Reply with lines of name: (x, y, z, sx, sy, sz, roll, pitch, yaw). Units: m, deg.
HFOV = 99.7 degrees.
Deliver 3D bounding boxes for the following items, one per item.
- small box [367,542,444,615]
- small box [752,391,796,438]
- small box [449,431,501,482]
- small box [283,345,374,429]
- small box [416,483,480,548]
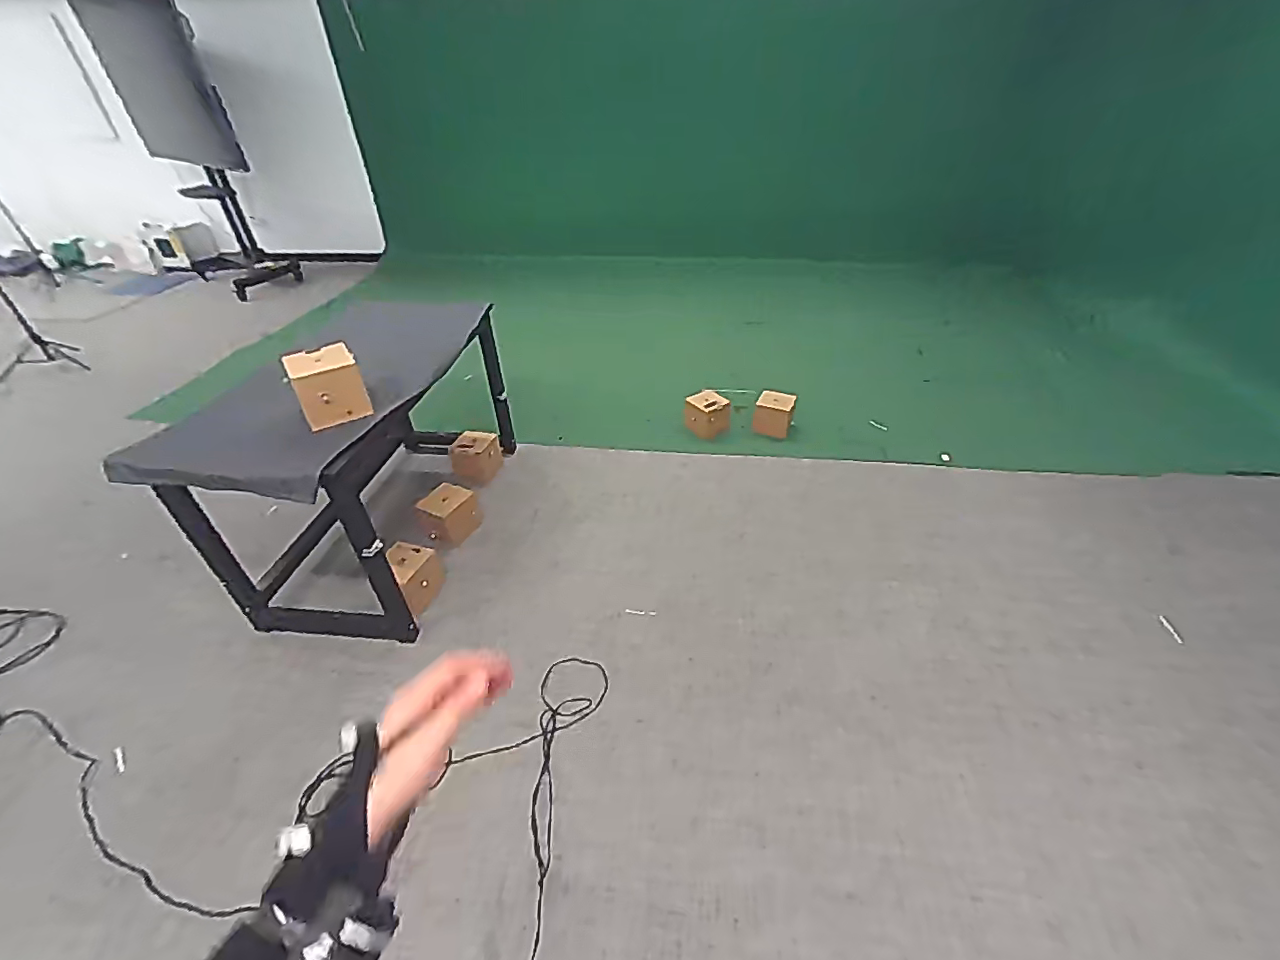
small box: (-0.831, 0.355, 1.939, 0.168, 0.176, 0.179, 11, 40, 16)
small box: (0.682, -0.332, 2.769, 0.179, 0.176, 0.168, 16, 42, 21)
small box: (-0.764, -0.107, 2.529, 0.168, 0.176, 0.179, 7, 38, 10)
small box: (-0.888, -0.263, 1.550, 0.168, 0.176, 0.179, -24, 43, -27)
small box: (-0.776, 0.143, 2.209, 0.168, 0.176, 0.179, 16, 42, 22)
